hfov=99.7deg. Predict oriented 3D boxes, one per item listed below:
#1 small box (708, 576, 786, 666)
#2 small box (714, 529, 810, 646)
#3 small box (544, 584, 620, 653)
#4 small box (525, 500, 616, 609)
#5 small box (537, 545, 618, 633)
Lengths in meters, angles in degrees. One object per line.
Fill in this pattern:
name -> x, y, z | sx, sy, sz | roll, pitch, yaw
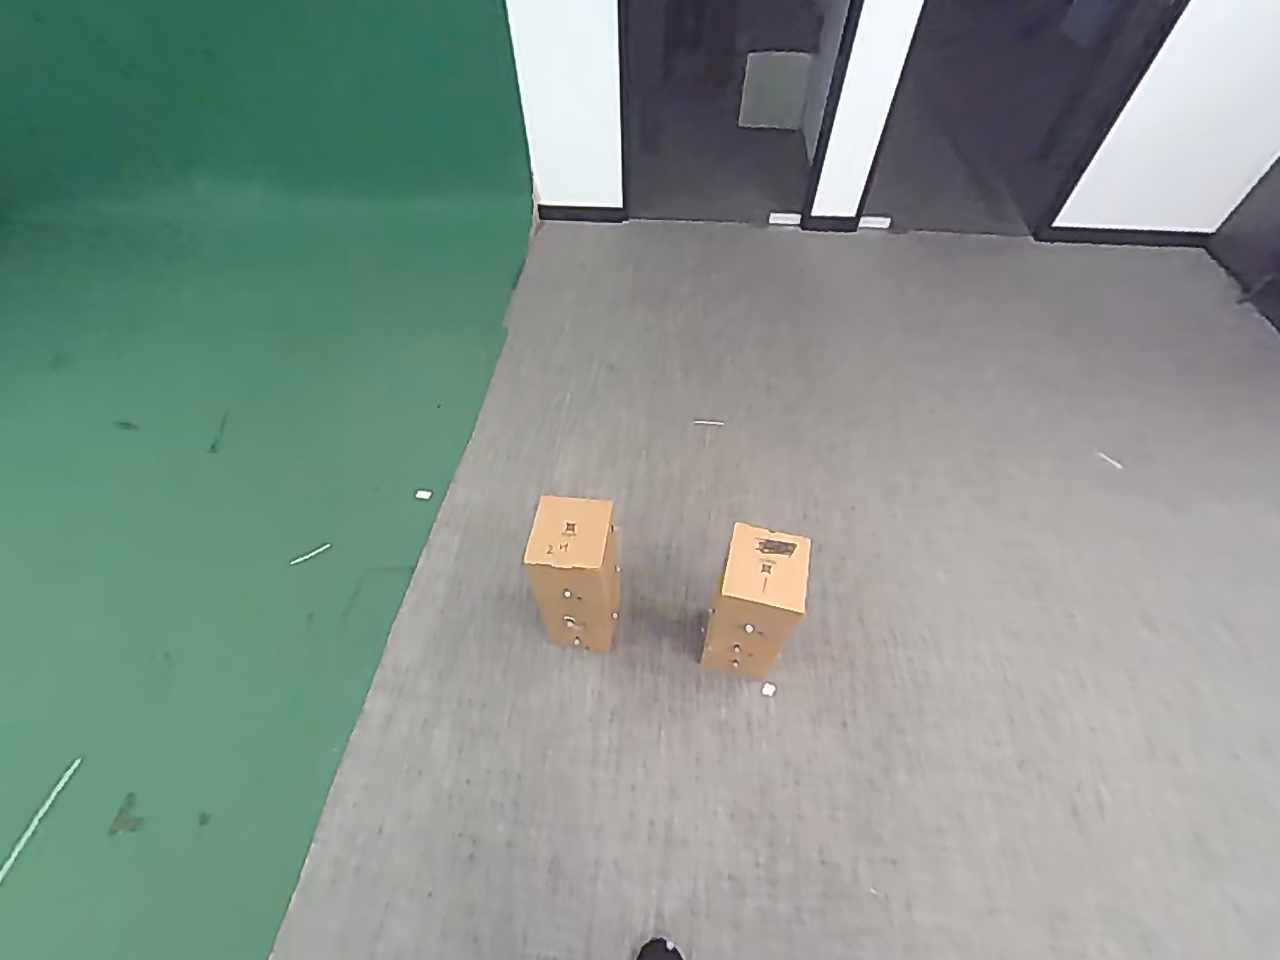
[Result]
small box -> 0.263, 0.328, 1.315 | 0.168, 0.176, 0.179 | 11, 55, 8
small box -> 0.260, 0.237, 1.178 | 0.168, 0.176, 0.179 | 12, 56, 9
small box -> -0.151, 0.362, 1.493 | 0.168, 0.176, 0.179 | 8, 54, 6
small box -> -0.148, 0.170, 1.228 | 0.168, 0.176, 0.179 | 5, 53, 5
small box -> -0.149, 0.266, 1.362 | 0.168, 0.176, 0.179 | 5, 55, 5
